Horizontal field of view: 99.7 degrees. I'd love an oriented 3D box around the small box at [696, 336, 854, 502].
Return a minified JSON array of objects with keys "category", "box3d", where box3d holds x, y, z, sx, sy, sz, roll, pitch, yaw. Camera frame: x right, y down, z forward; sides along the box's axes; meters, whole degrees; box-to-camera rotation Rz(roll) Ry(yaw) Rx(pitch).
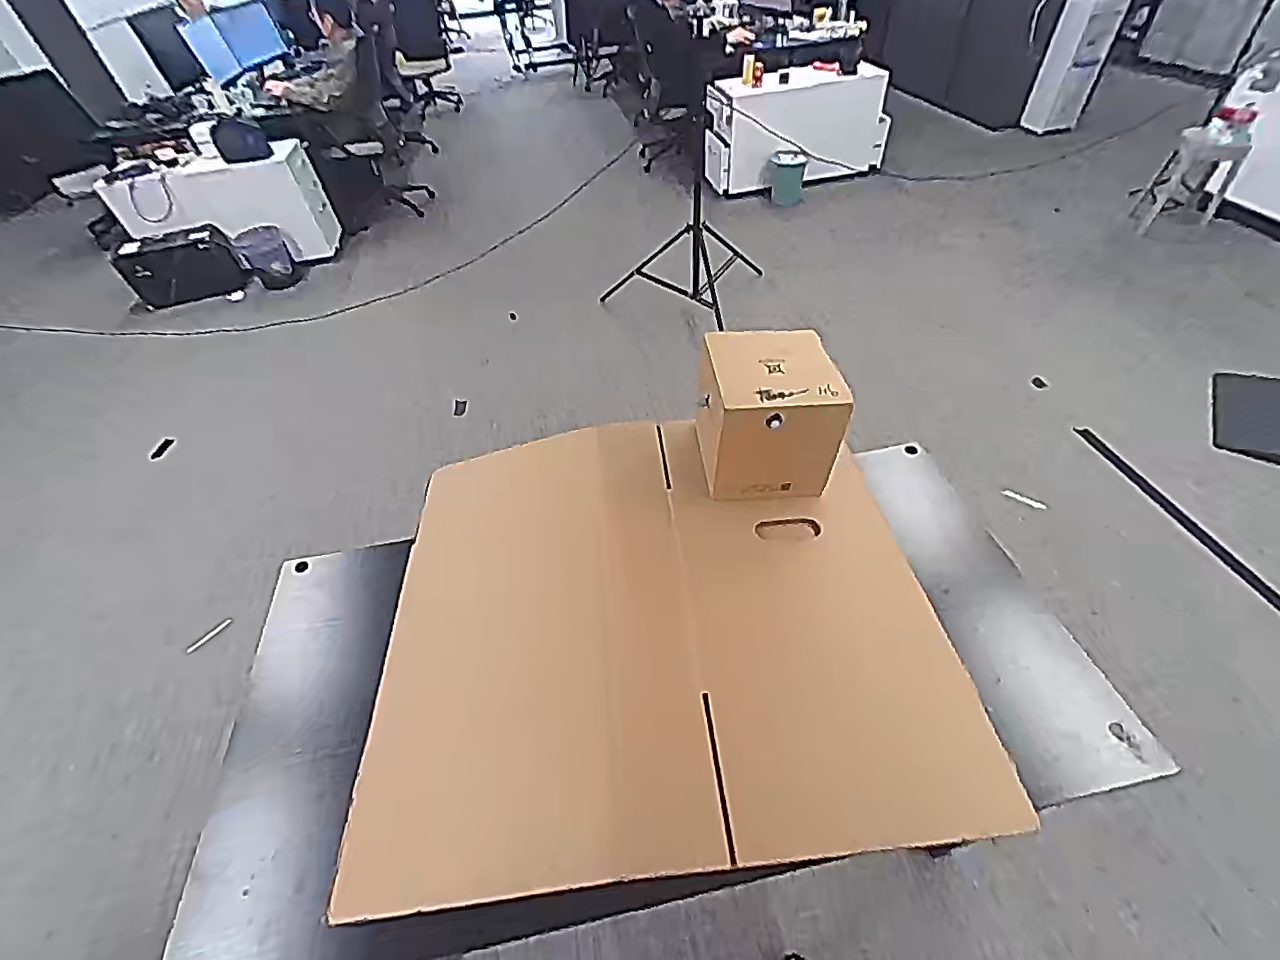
[{"category":"small box","box3d":[0.177,-0.088,0.775,0.168,0.176,0.179,-3,45,-3]}]
